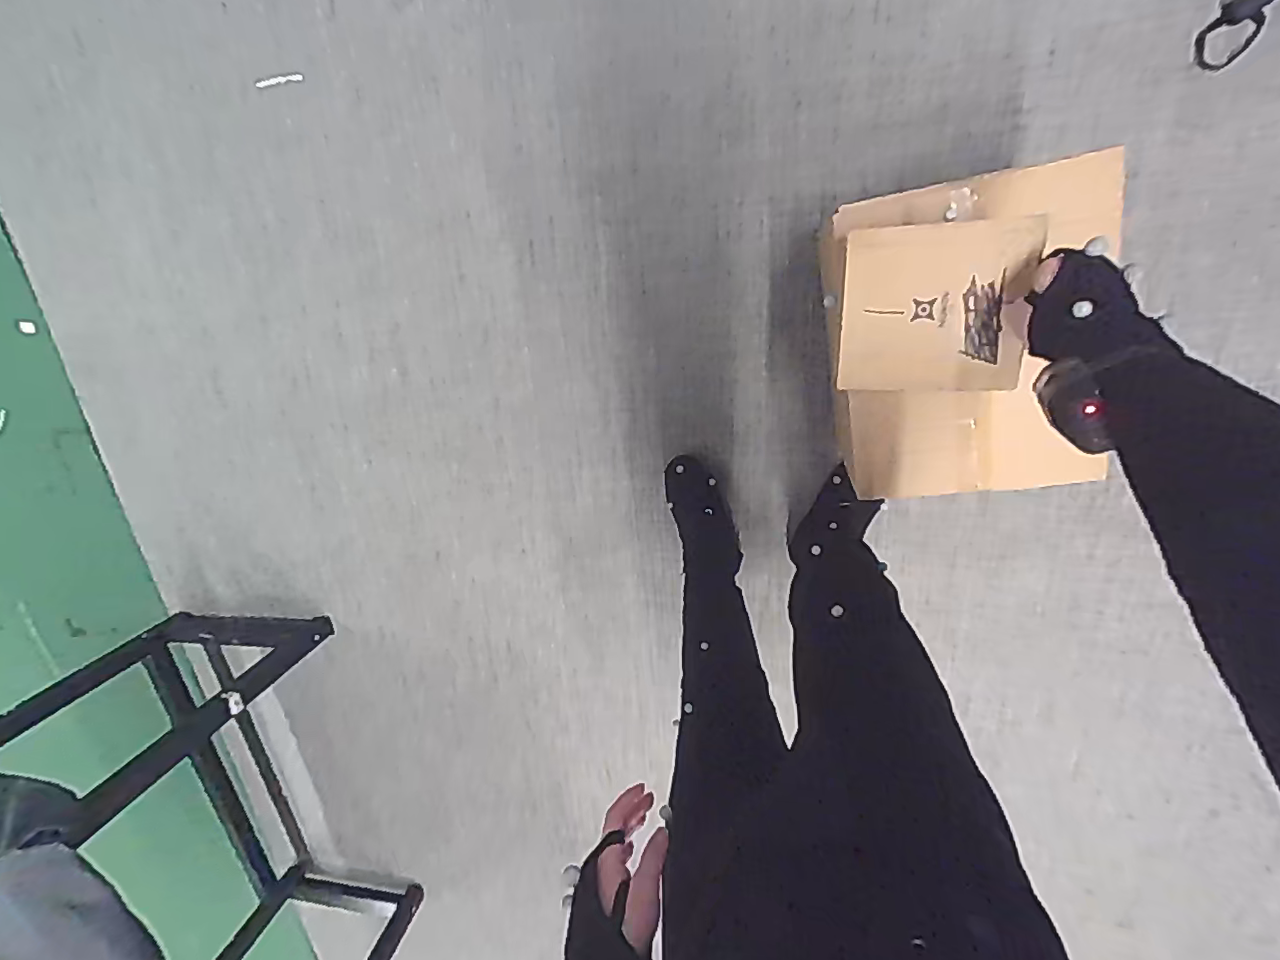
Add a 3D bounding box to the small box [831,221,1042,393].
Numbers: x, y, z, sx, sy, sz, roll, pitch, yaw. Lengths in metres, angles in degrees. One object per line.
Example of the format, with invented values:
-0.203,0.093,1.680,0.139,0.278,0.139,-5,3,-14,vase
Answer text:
0.318,-0.198,0.622,0.179,0.176,0.168,3,111,18,small box
